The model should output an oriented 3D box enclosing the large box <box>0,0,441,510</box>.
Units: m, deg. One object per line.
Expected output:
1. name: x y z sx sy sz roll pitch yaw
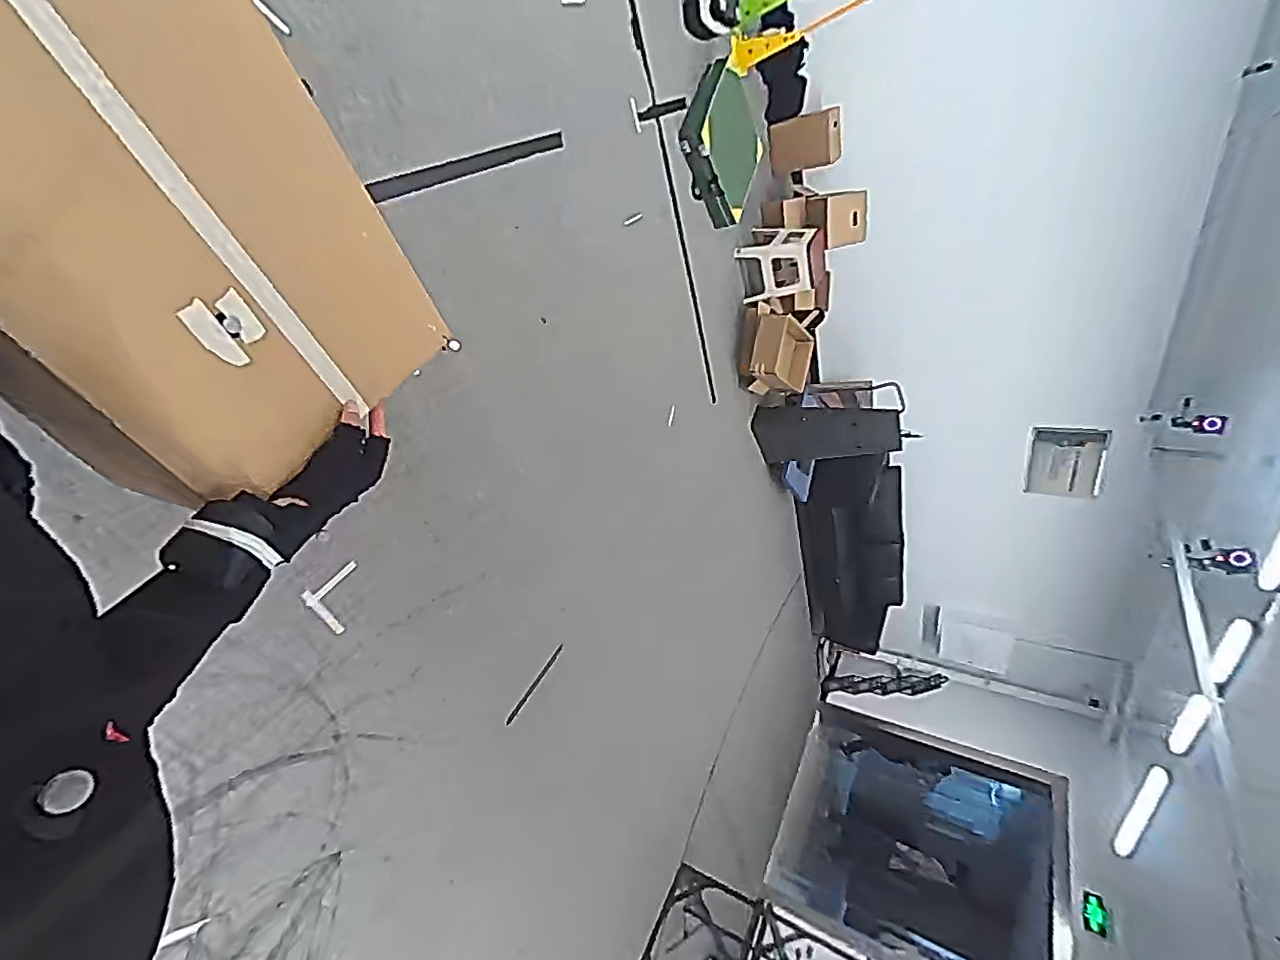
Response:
1. large box: -0.497 -0.228 0.535 0.320 0.320 0.408 -58 142 -34
